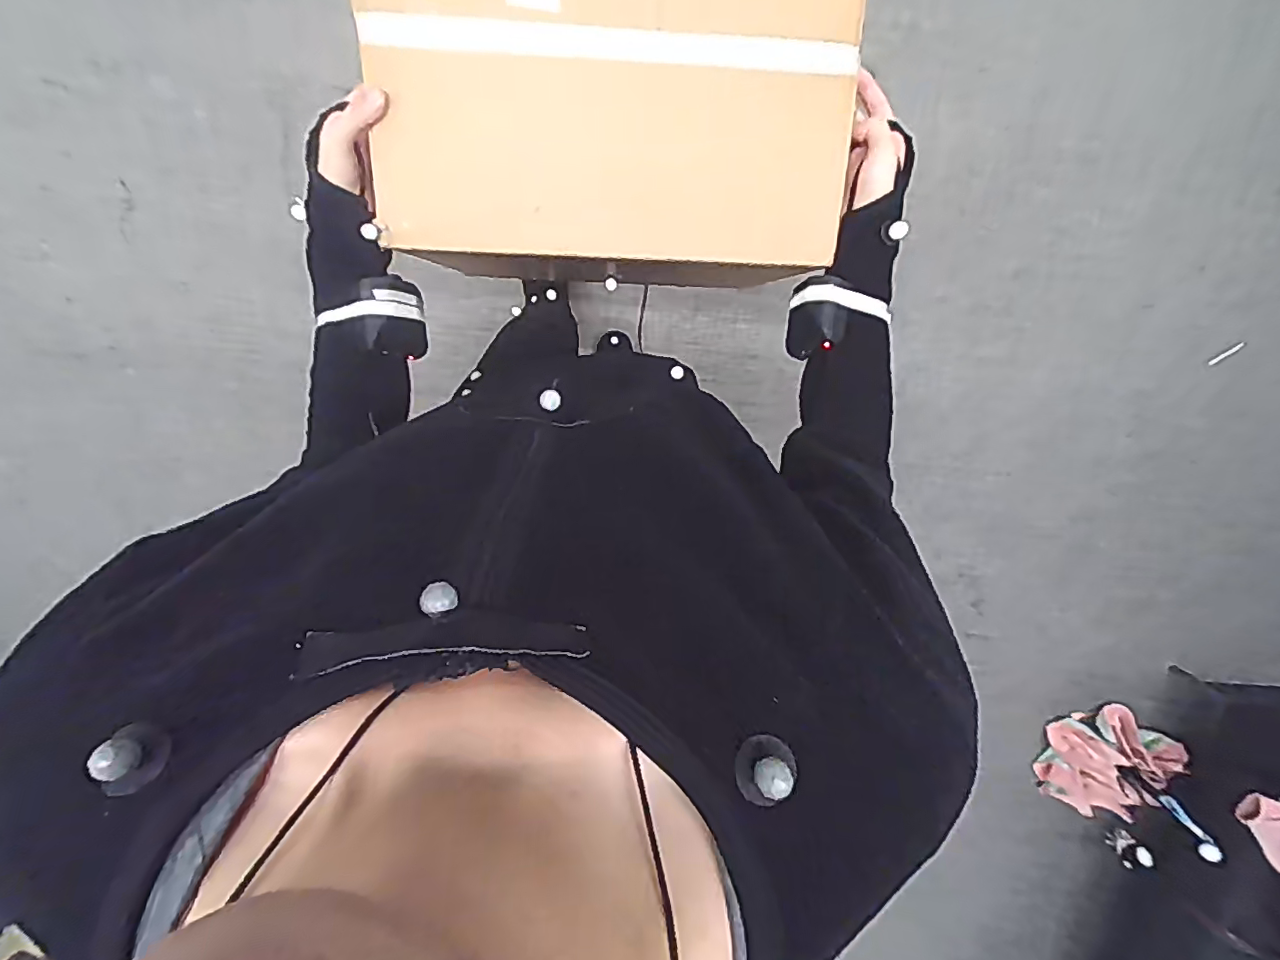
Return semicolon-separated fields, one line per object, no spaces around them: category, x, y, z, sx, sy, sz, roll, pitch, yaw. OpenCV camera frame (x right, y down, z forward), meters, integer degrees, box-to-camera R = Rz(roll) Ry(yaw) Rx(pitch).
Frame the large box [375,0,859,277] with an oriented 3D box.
large box;-0.023;-0.398;0.595;0.408;0.320;0.320;1;105;-3
